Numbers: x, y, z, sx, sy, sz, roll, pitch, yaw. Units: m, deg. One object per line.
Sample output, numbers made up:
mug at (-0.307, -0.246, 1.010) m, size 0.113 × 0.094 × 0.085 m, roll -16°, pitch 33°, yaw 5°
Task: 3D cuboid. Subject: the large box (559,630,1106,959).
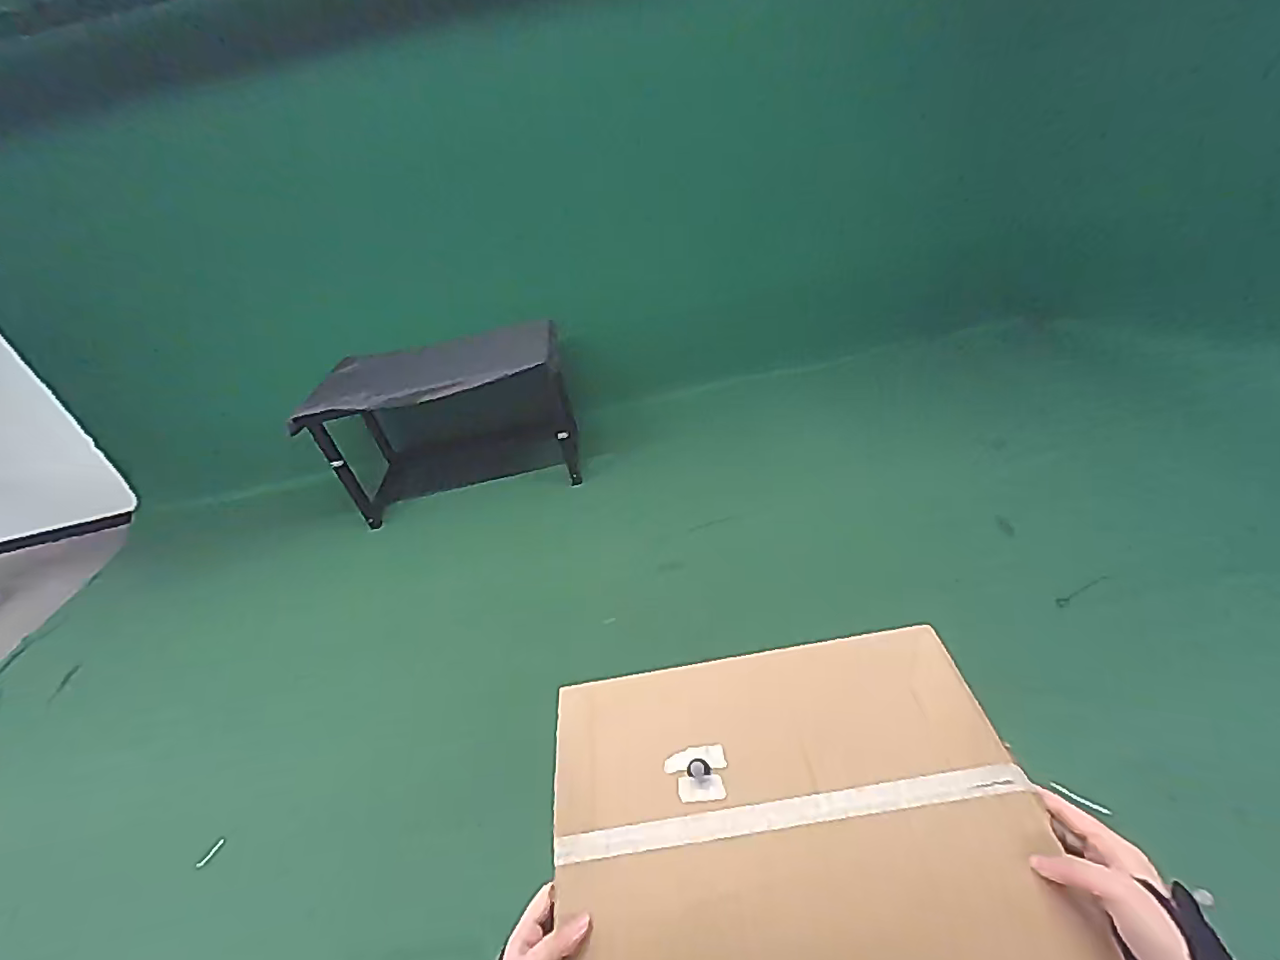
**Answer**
large box at (0.152, 0.409, 0.574) m, size 0.408 × 0.320 × 0.320 m, roll -12°, pitch 41°, yaw 4°
